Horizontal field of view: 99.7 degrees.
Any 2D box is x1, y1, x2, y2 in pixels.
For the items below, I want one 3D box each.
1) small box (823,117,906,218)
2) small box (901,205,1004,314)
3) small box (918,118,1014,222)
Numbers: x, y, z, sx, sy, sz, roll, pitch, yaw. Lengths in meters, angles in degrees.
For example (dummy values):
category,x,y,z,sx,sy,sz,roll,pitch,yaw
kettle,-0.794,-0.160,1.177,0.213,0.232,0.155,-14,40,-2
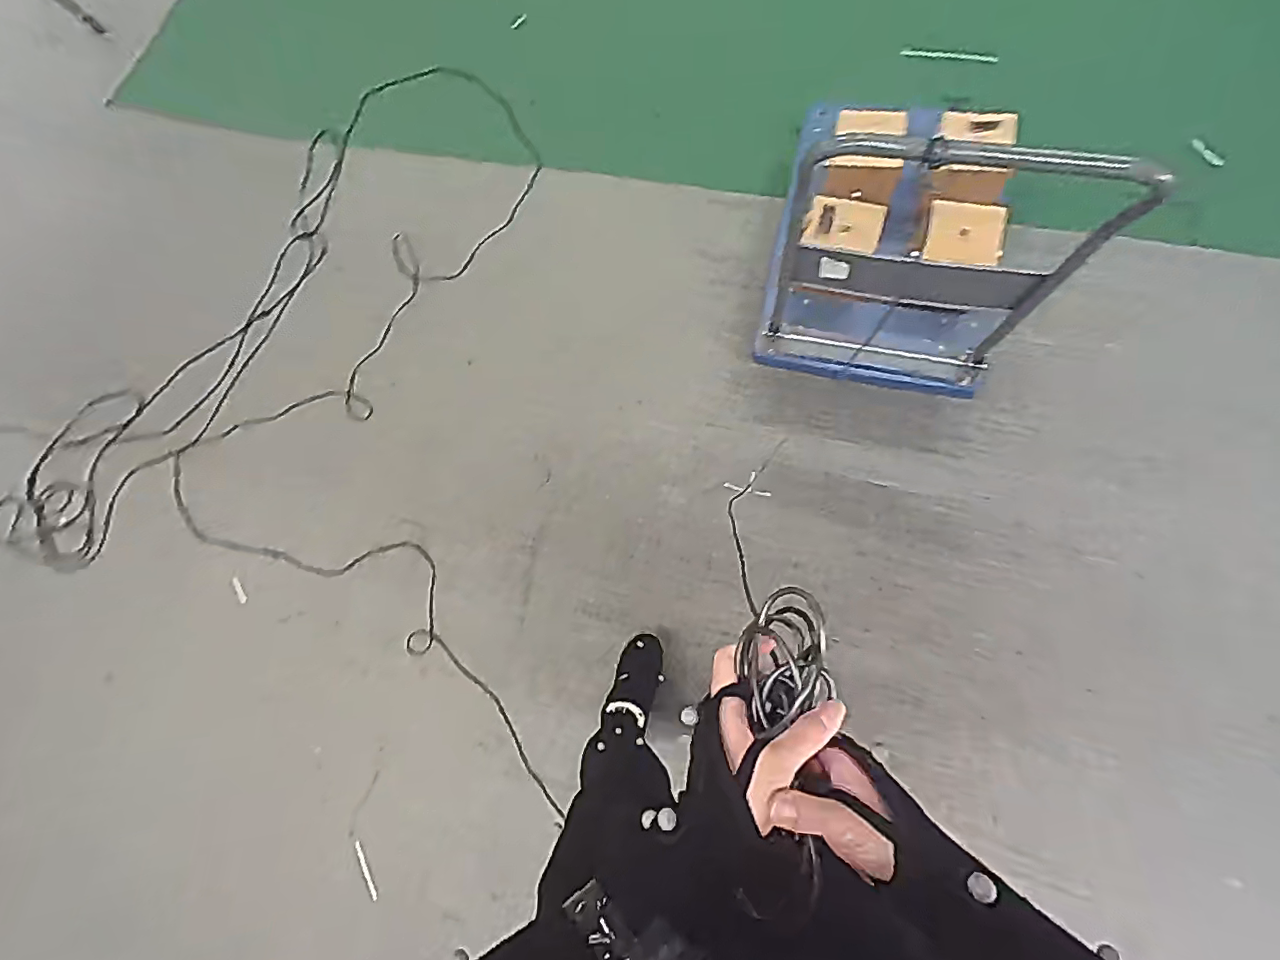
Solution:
category,x,y,z,sx,sy,sz,roll,pitch,yaw
small box,0.598,-0.837,1.458,0.168,0.176,0.179,9,76,10
small box,0.771,-0.547,1.350,0.168,0.176,0.179,14,78,12
small box,0.842,-0.800,1.411,0.168,0.176,0.179,9,77,12
